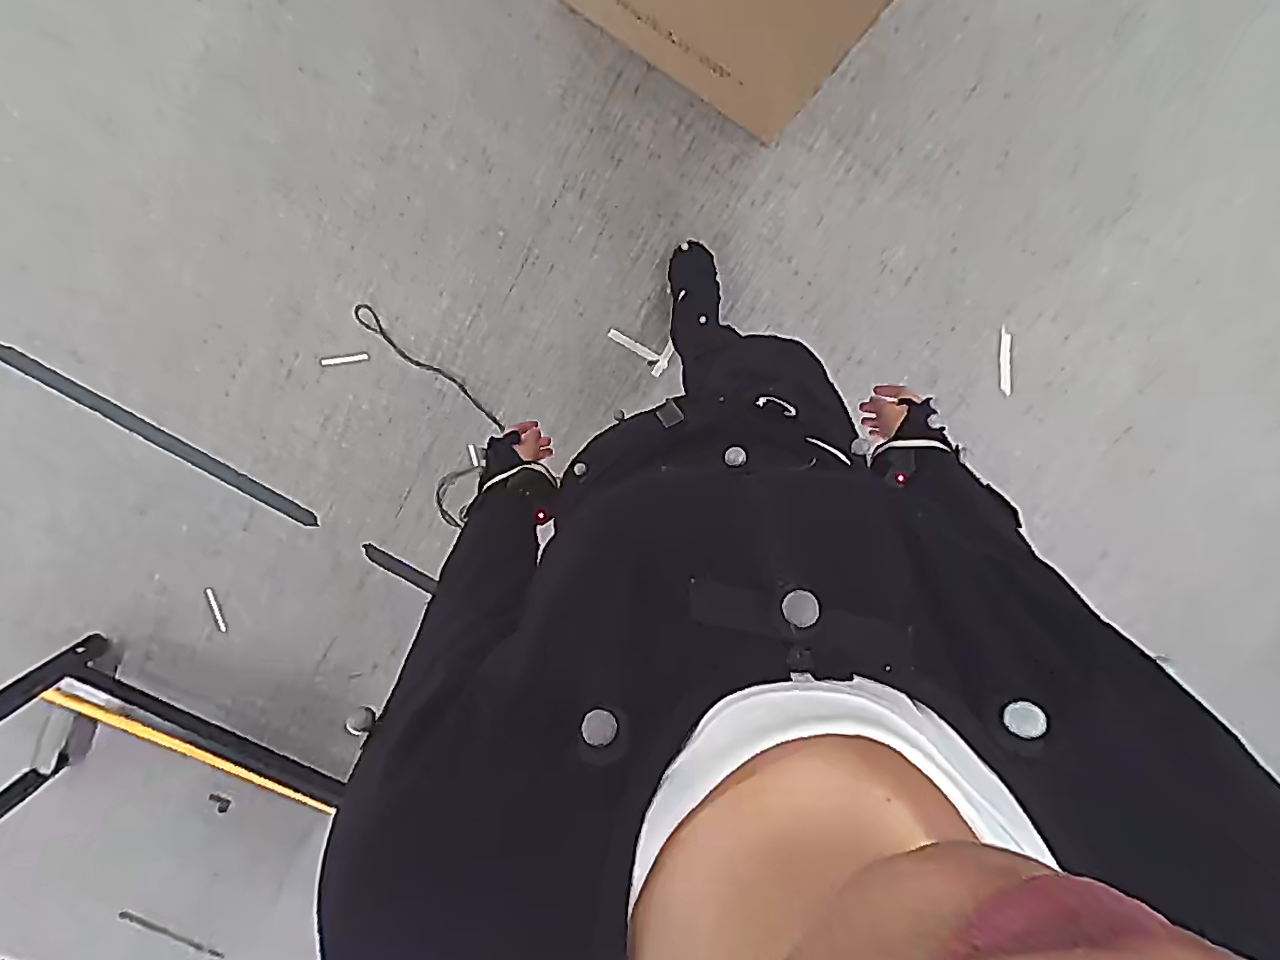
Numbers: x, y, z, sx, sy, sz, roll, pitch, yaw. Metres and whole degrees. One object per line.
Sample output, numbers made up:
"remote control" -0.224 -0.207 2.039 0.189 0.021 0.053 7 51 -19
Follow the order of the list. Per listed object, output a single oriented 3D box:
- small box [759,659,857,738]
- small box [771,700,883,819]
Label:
"small box" 0.454 0.629 1.489 0.179 0.176 0.168 31 105 -8
"small box" 0.450 0.680 1.332 0.179 0.176 0.168 30 105 -8
